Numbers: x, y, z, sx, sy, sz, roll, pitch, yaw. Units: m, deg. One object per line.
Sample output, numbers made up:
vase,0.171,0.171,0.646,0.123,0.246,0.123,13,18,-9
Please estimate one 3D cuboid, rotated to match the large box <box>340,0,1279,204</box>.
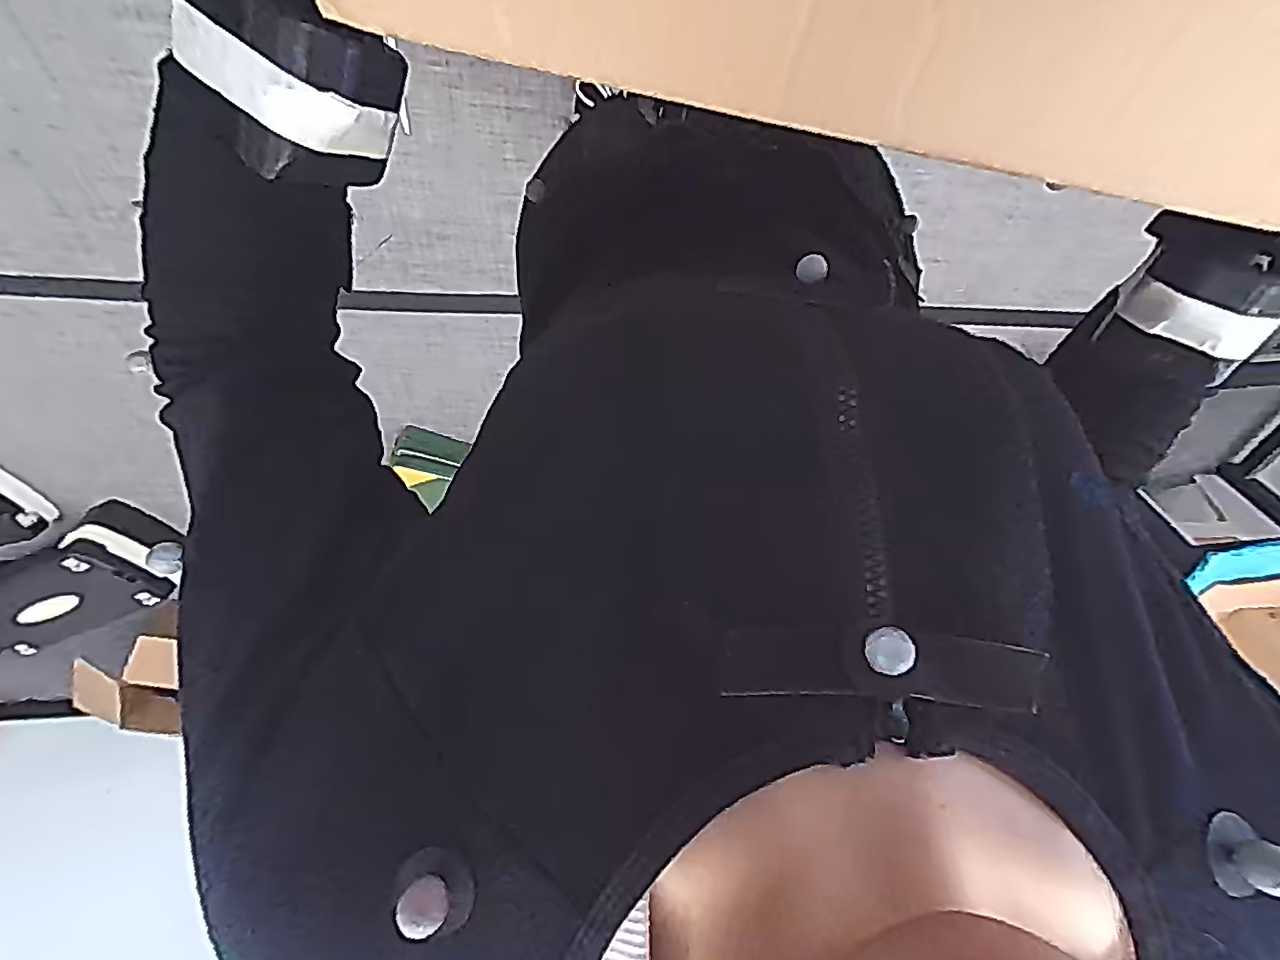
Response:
large box,0.114,-0.355,0.200,0.408,0.320,0.320,7,139,-7
